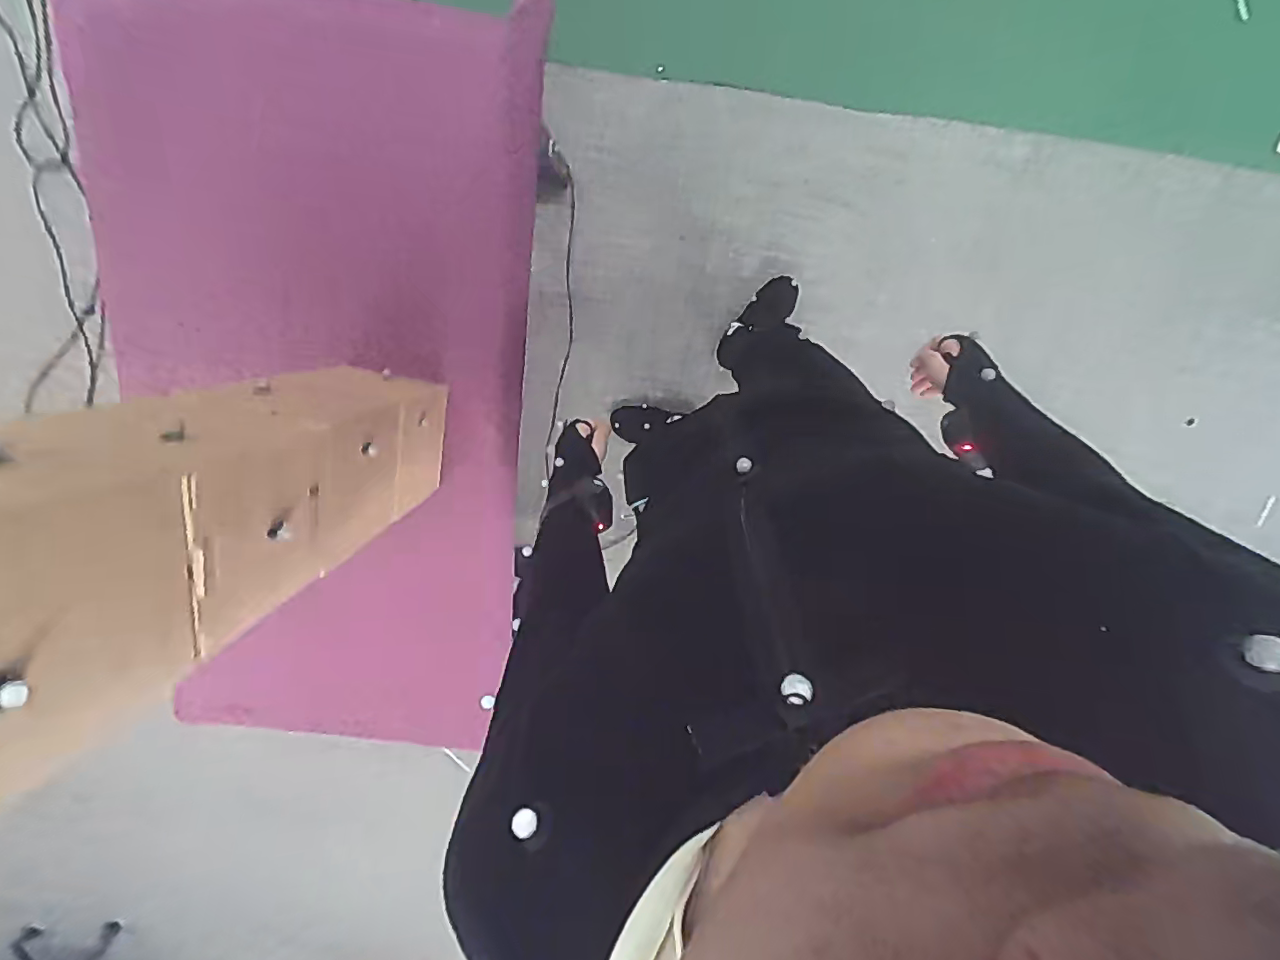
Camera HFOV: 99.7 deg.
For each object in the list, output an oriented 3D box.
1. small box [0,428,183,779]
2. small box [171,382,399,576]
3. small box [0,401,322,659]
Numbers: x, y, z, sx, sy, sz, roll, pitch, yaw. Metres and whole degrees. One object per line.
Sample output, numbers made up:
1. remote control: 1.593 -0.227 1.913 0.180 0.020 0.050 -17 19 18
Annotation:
1. small box: -0.427 0.076 0.330 0.168 0.176 0.179 9 105 0
2. small box: -0.407 -0.012 0.646 0.168 0.176 0.179 12 106 -1
3. small box: -0.419 0.031 0.489 0.179 0.176 0.168 11 106 -1
